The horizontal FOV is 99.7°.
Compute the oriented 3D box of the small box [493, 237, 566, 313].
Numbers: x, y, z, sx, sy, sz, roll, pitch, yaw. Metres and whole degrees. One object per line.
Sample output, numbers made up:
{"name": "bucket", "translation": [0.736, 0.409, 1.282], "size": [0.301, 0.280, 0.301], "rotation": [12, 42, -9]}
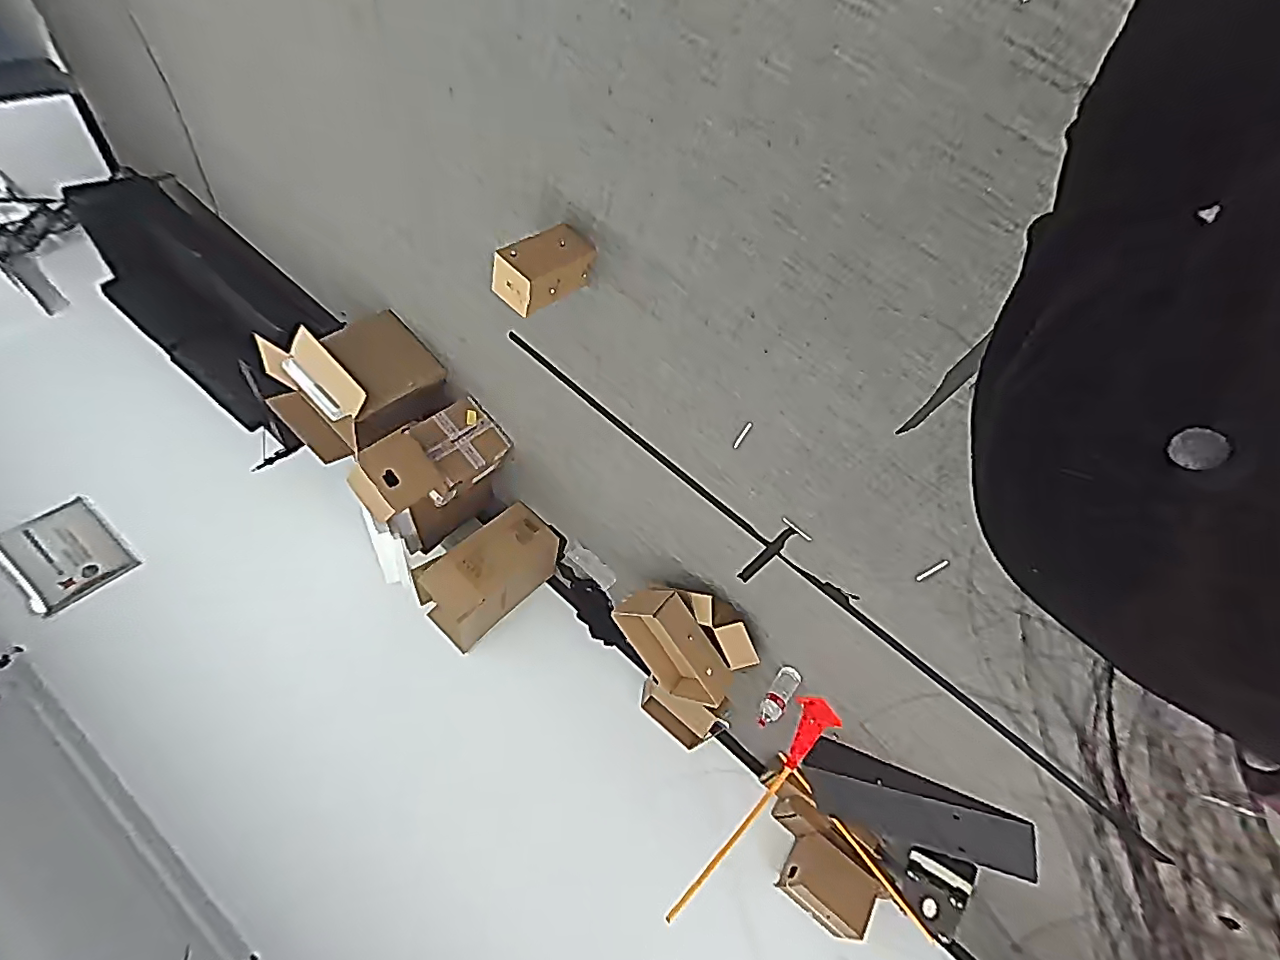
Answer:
{"name": "small box", "translation": [-0.392, -0.731, 1.911], "size": [0.179, 0.176, 0.168], "rotation": [42, 146, 8]}
